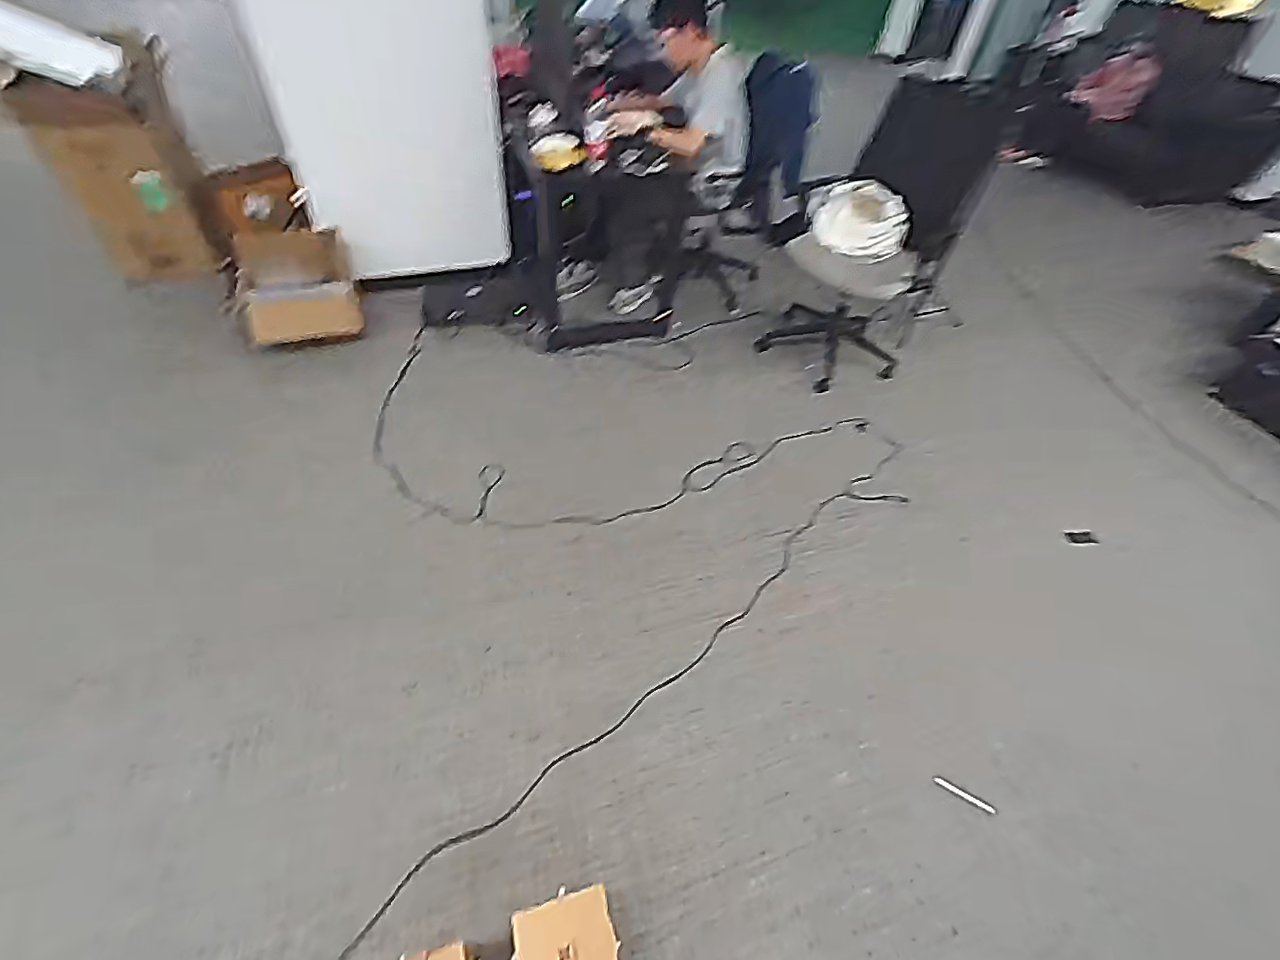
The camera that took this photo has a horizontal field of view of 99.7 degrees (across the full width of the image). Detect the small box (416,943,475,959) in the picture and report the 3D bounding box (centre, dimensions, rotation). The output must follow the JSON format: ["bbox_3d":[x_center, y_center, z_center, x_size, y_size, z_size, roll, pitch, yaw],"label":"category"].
[{"bbox_3d":[-0.374,0.952,0.945,0.168,0.176,0.179,-12,51,-15],"label":"small box"}]

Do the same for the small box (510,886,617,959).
[{"bbox_3d":[-0.140,0.902,1.020,0.179,0.176,0.168,-9,49,-16],"label":"small box"}]
